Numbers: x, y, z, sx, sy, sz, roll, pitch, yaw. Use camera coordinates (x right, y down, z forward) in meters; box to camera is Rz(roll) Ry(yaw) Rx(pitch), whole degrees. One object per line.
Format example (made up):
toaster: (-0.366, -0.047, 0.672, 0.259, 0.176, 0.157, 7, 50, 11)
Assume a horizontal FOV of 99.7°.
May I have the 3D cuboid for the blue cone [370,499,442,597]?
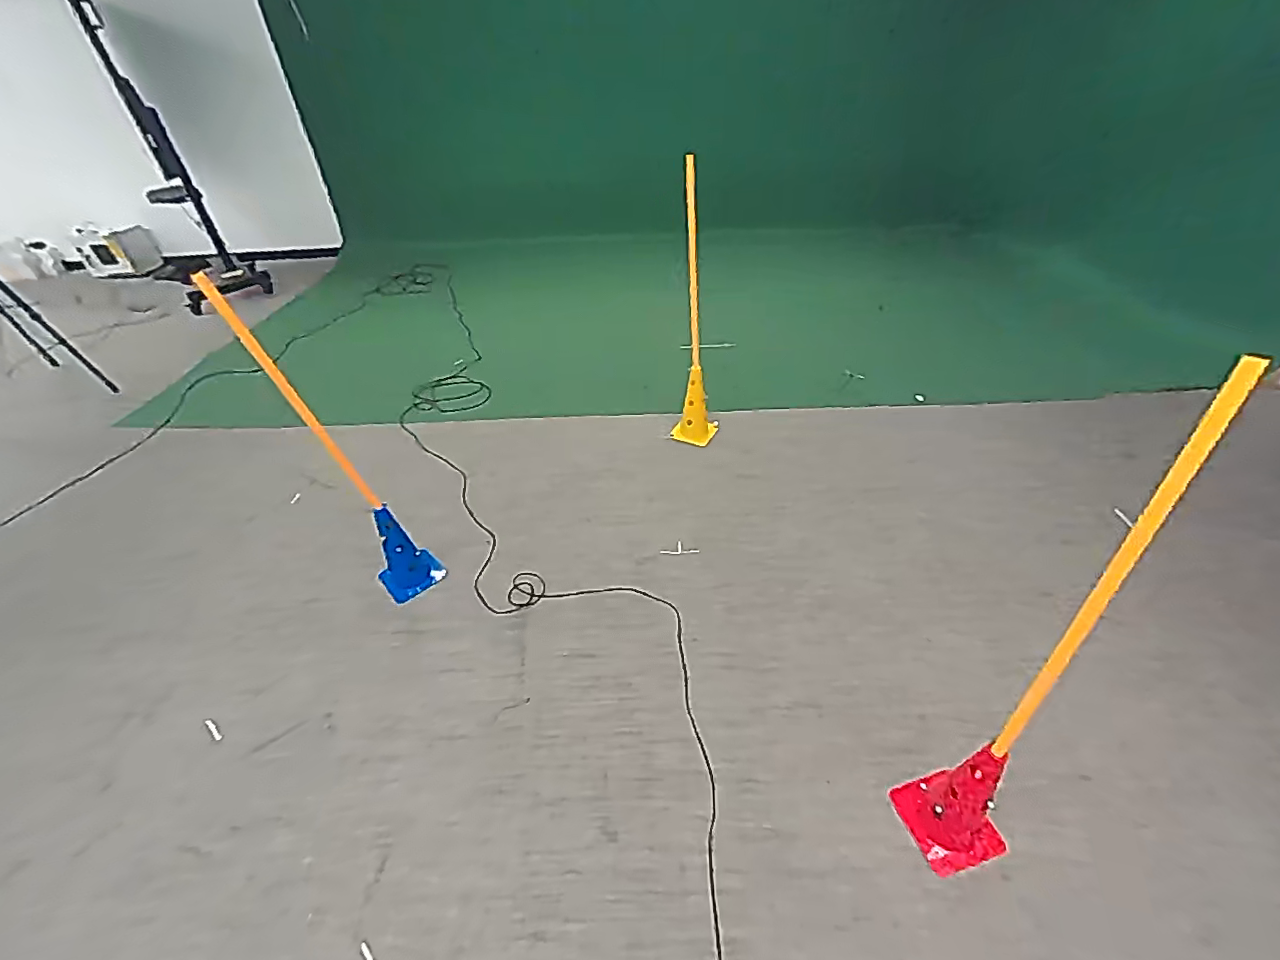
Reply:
blue cone: (-0.866, 0.220, 1.917, 0.192, 0.380, 0.193, 32, 52, 34)
